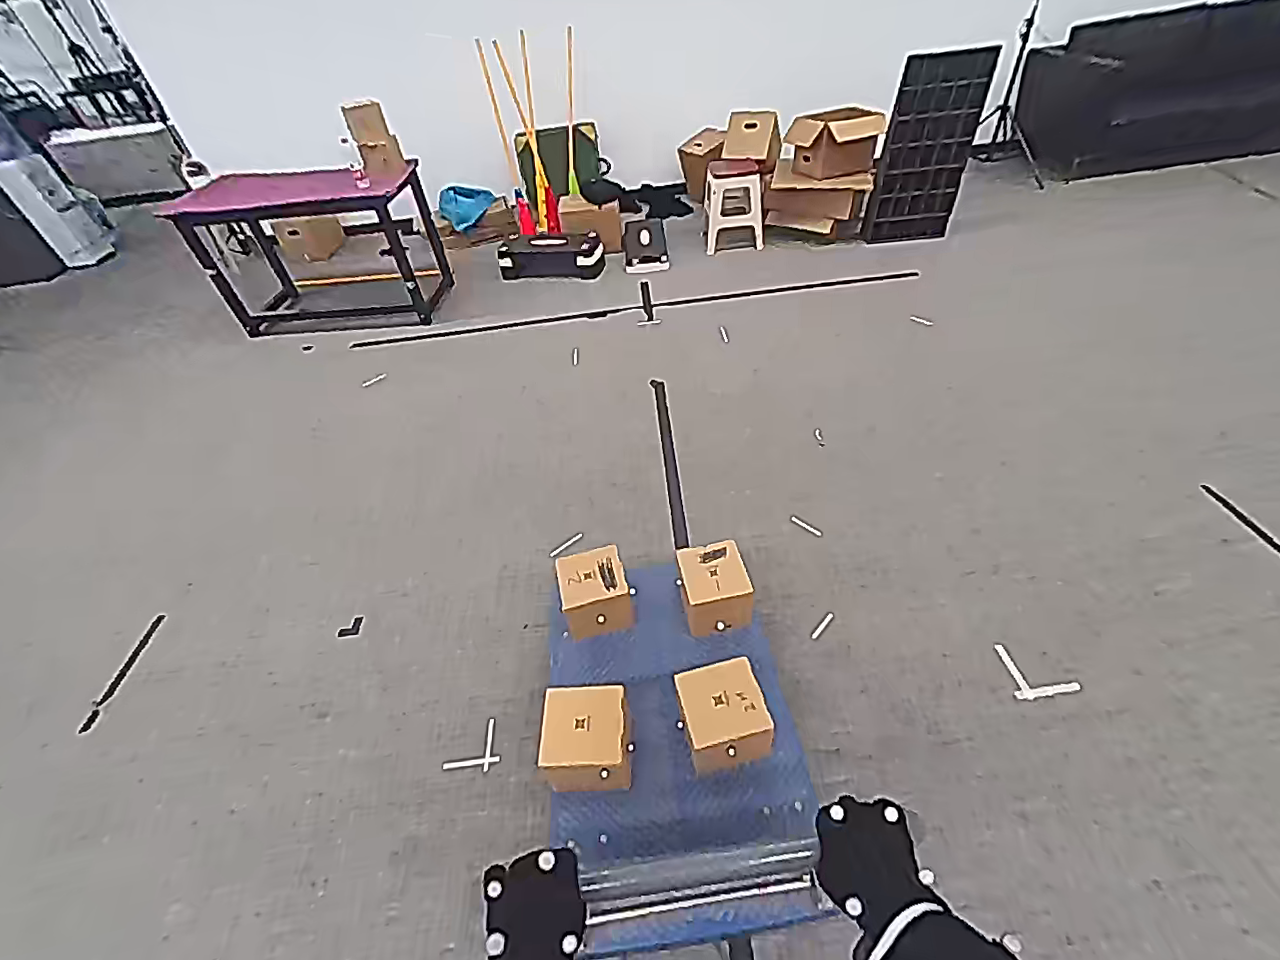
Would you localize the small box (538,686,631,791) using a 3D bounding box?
[{"bbox_3d":[-0.117,0.581,1.208,0.179,0.176,0.168,-4,44,2],"label":"small box"}]

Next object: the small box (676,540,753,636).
[{"bbox_3d":[0.196,0.291,1.454,0.168,0.176,0.179,-11,45,-3],"label":"small box"}]

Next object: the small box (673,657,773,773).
[{"bbox_3d":[0.184,0.531,1.214,0.179,0.176,0.168,-13,45,-5],"label":"small box"}]
